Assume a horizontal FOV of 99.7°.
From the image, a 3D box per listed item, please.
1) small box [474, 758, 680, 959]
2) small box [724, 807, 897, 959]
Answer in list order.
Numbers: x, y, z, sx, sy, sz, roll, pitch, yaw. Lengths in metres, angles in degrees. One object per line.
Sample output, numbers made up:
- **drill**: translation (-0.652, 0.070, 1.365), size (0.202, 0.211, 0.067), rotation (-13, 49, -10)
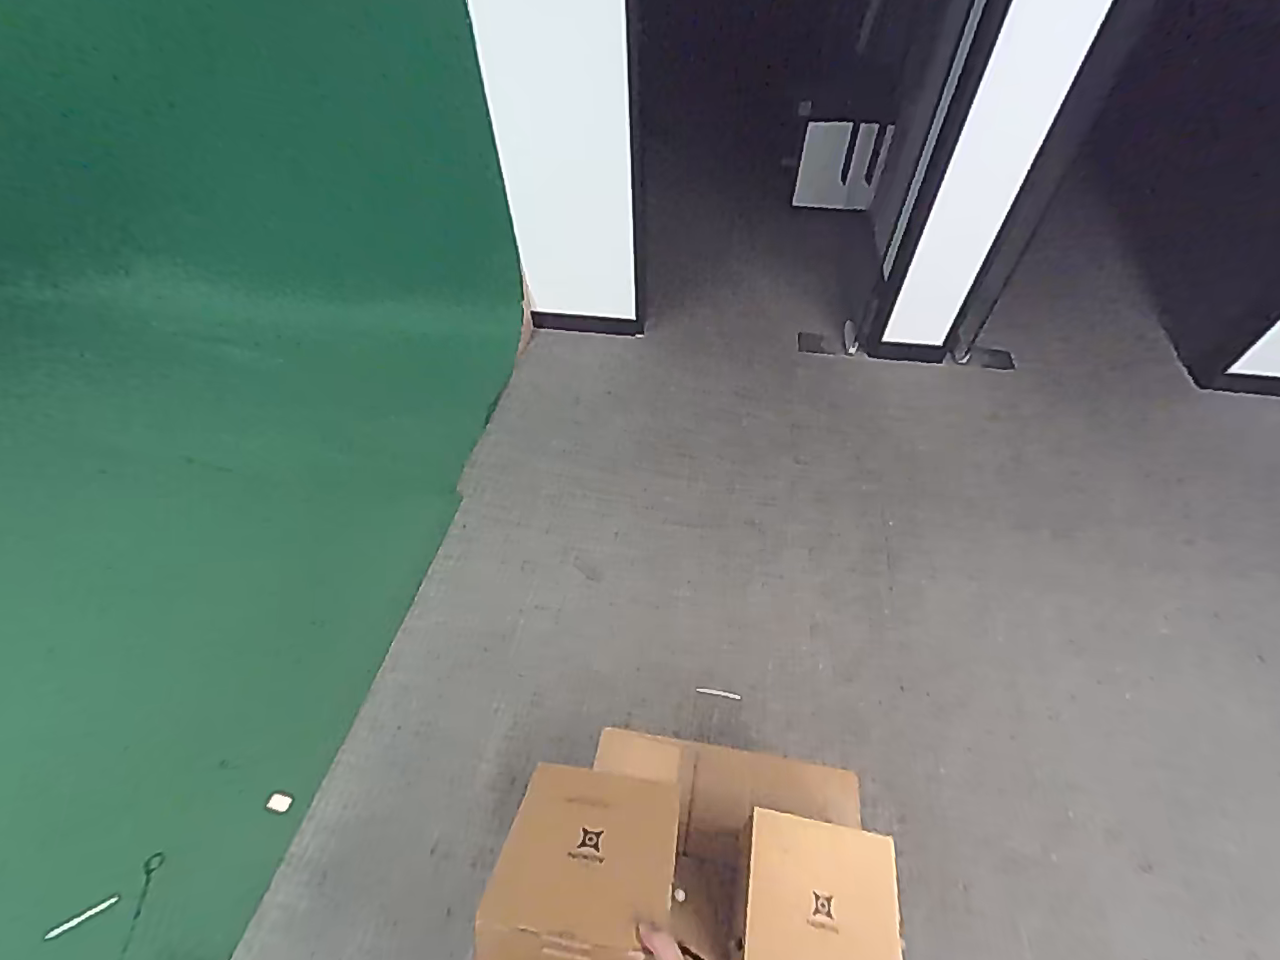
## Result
- **small box**: translation (-0.054, 0.436, 0.563), size (0.168, 0.176, 0.179), rotation (7, 18, 9)
- **small box**: translation (0.199, 0.530, 0.662), size (0.168, 0.176, 0.179), rotation (9, 52, 9)
